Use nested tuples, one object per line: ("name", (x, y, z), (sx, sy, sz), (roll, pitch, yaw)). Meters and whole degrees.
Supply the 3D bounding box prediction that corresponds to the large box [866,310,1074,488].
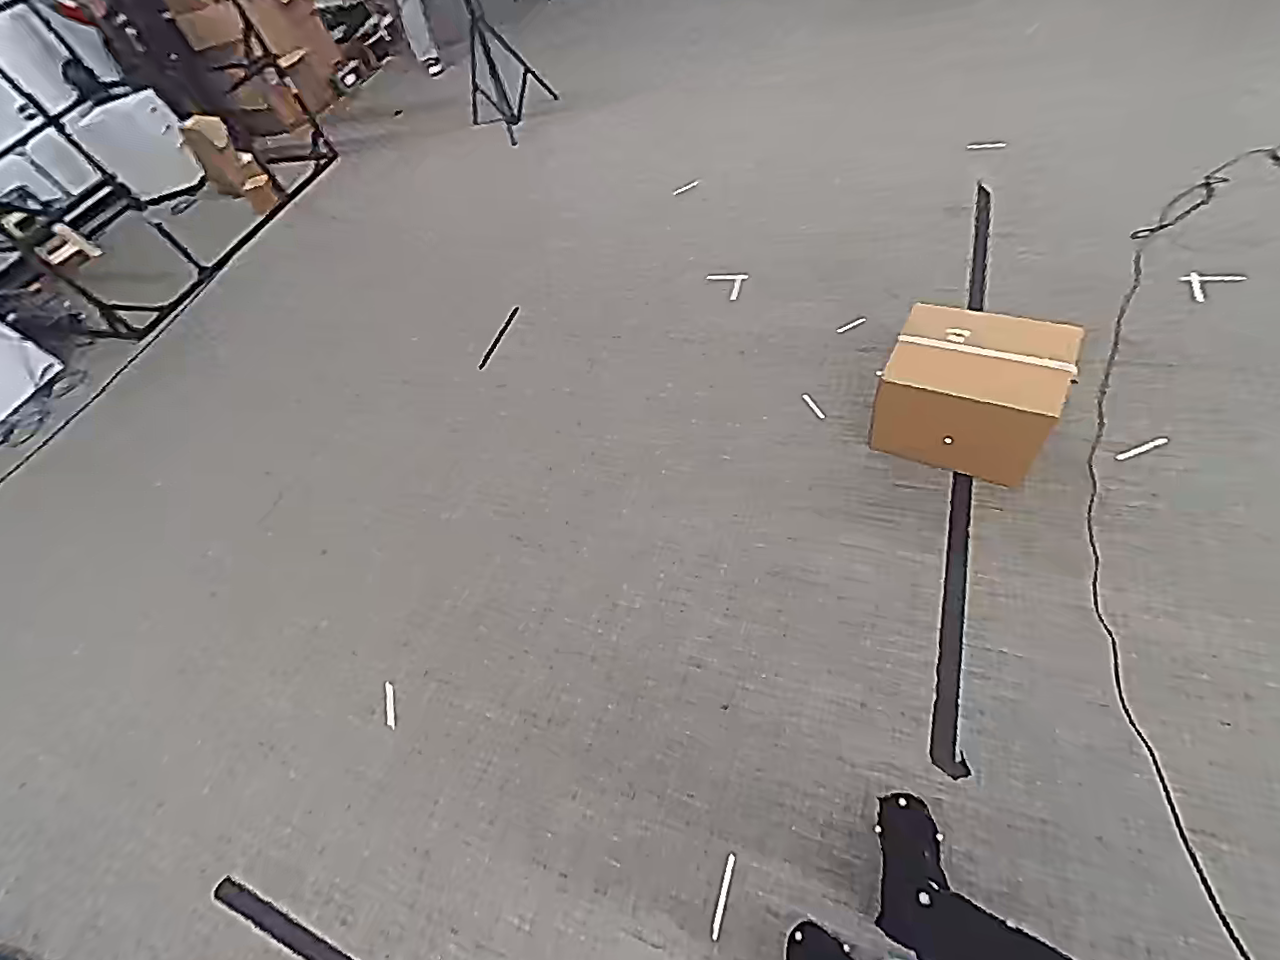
("large box", (0.893, -0.228, 1.506), (0.408, 0.320, 0.320), (20, 63, 29))
